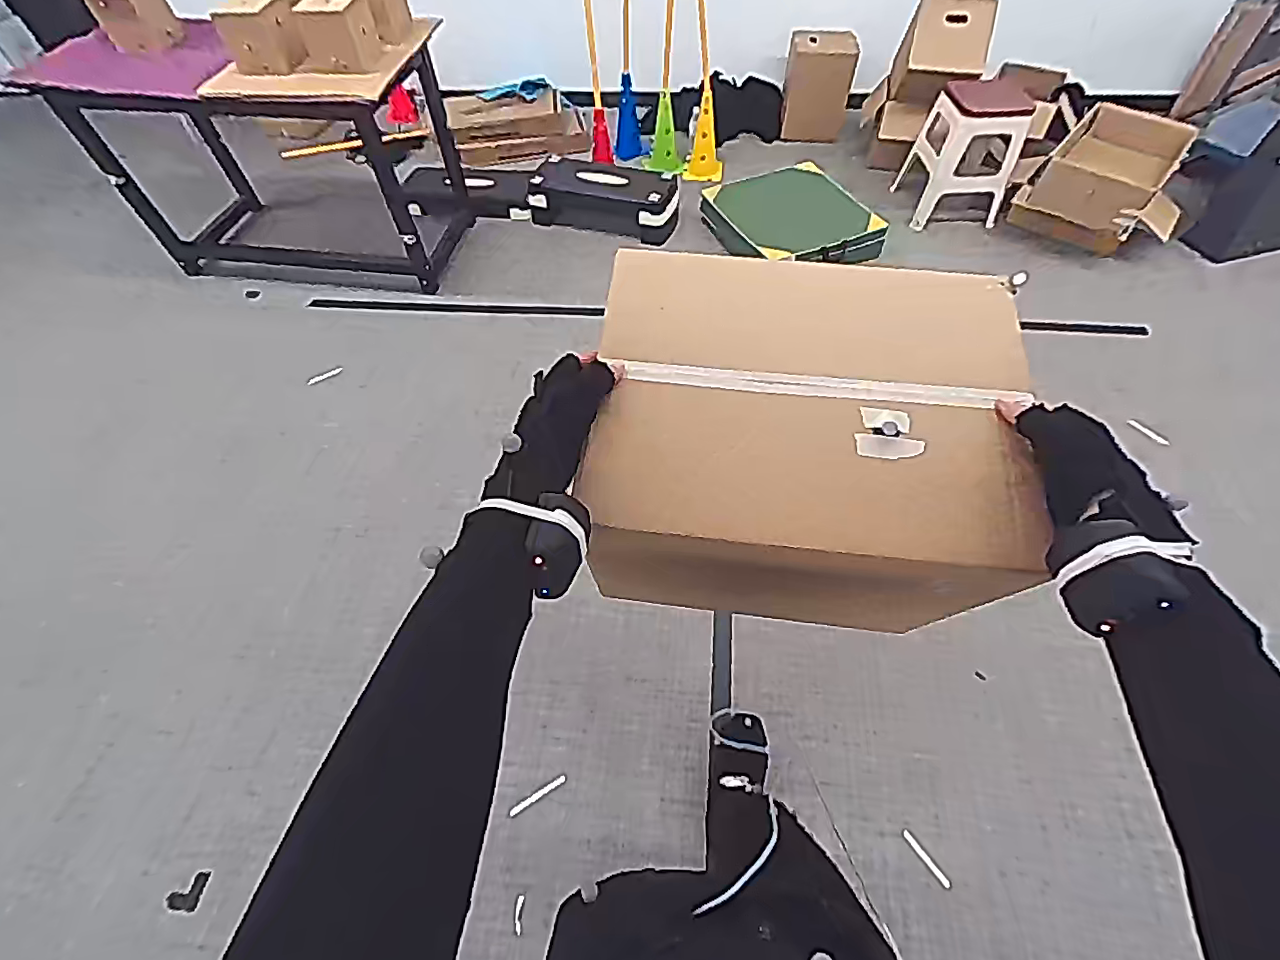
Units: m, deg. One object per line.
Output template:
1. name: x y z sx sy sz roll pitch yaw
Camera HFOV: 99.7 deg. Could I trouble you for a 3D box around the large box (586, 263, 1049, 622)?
1. large box: 0.166 -0.025 0.659 0.408 0.320 0.320 6 67 4
